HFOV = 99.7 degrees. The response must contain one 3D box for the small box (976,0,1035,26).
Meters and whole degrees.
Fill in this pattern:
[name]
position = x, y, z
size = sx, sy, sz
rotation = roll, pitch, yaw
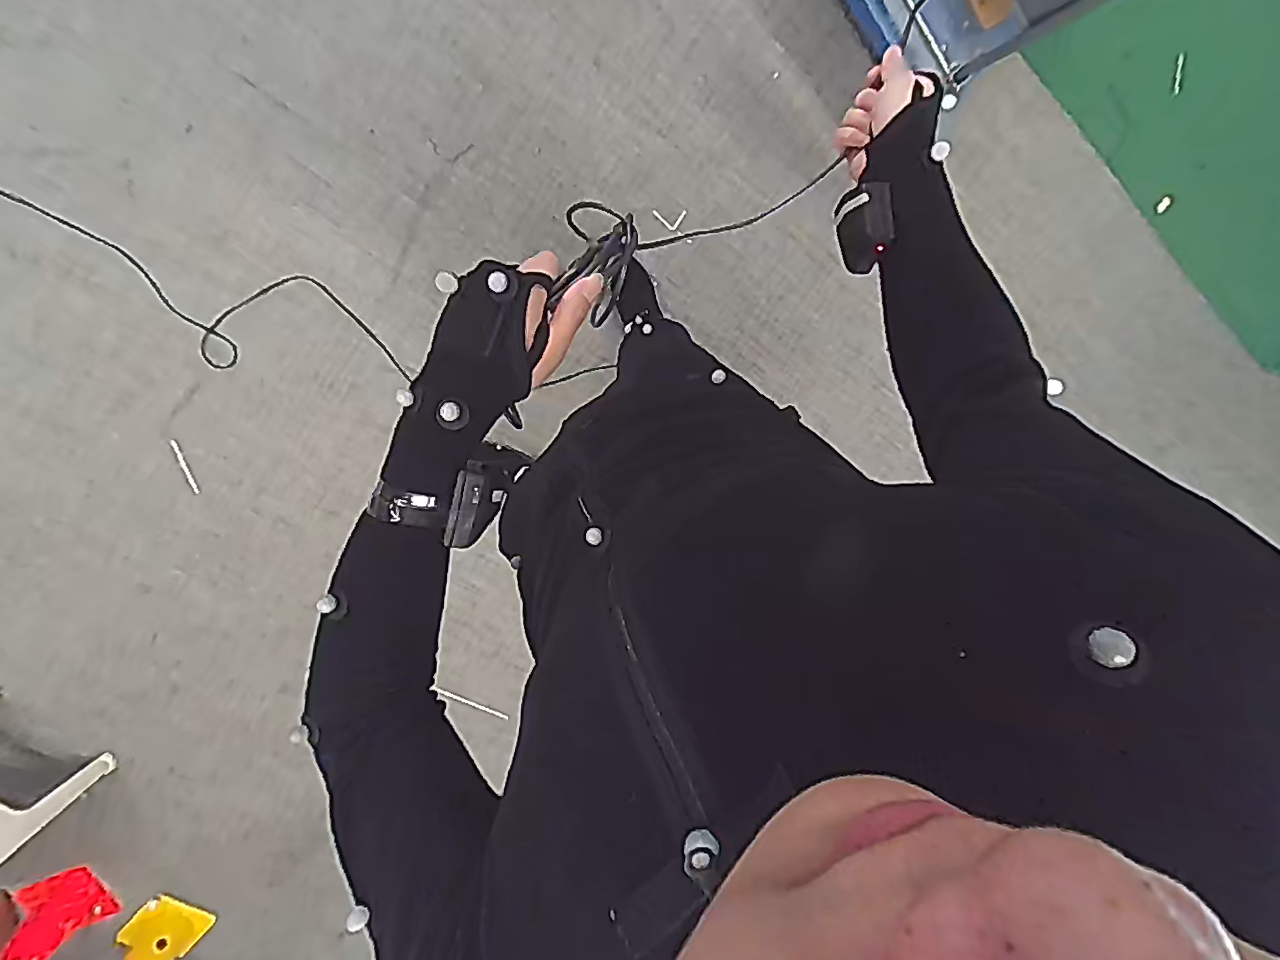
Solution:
[small box]
position = 0.890, -1.208, 1.232
size = 0.179, 0.176, 0.168
rotation = -45, 109, 2
